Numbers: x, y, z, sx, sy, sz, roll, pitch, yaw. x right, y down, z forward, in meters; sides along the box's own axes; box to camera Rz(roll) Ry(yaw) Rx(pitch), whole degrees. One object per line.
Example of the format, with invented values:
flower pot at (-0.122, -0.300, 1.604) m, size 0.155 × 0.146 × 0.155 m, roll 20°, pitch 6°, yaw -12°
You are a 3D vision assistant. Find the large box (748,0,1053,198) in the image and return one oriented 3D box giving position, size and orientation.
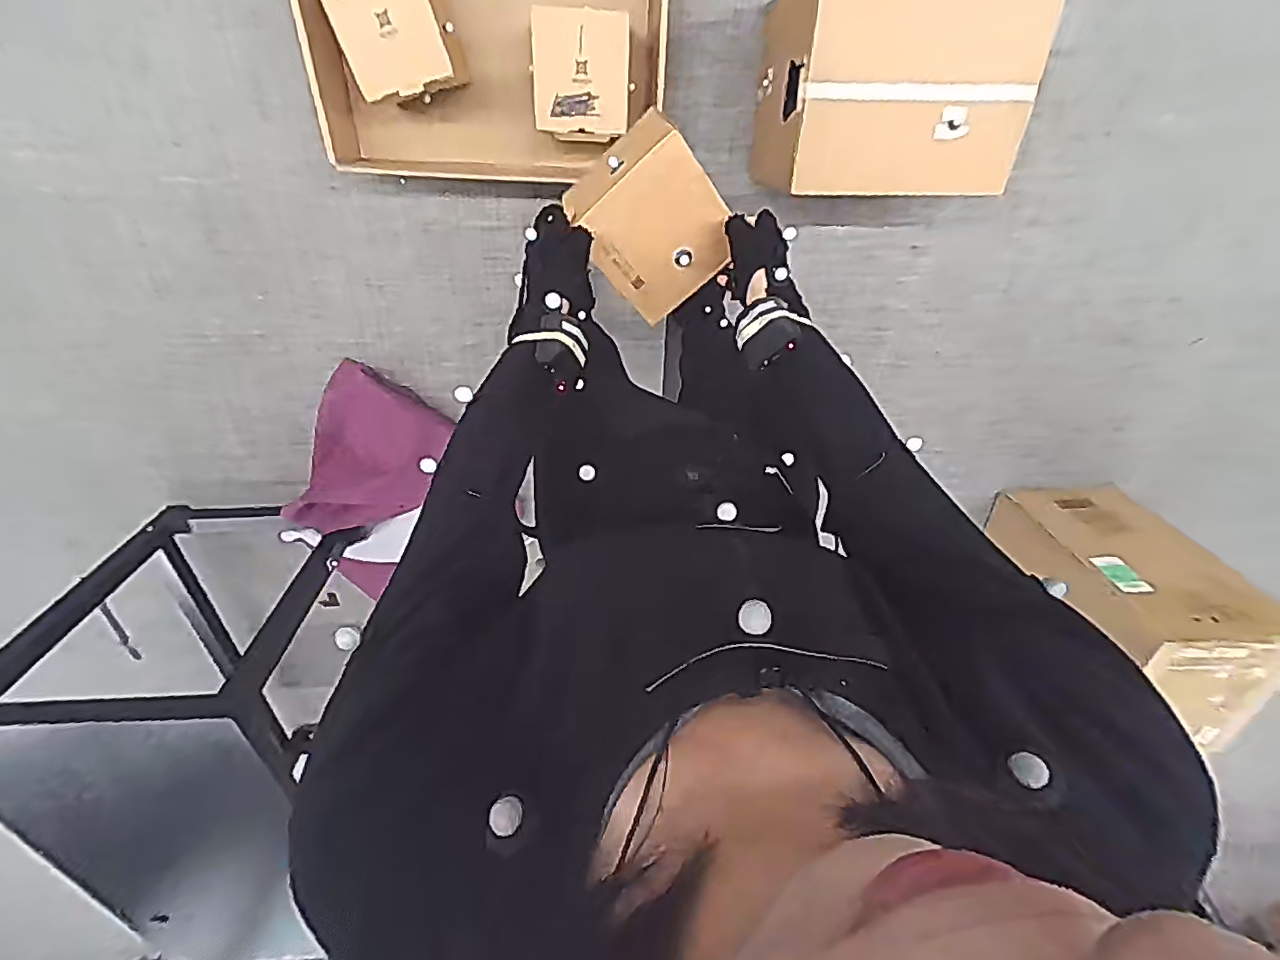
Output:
large box at (0.449, -0.732, 1.036) m, size 0.408 × 0.320 × 0.320 m, roll -3°, pitch 123°, yaw -4°
